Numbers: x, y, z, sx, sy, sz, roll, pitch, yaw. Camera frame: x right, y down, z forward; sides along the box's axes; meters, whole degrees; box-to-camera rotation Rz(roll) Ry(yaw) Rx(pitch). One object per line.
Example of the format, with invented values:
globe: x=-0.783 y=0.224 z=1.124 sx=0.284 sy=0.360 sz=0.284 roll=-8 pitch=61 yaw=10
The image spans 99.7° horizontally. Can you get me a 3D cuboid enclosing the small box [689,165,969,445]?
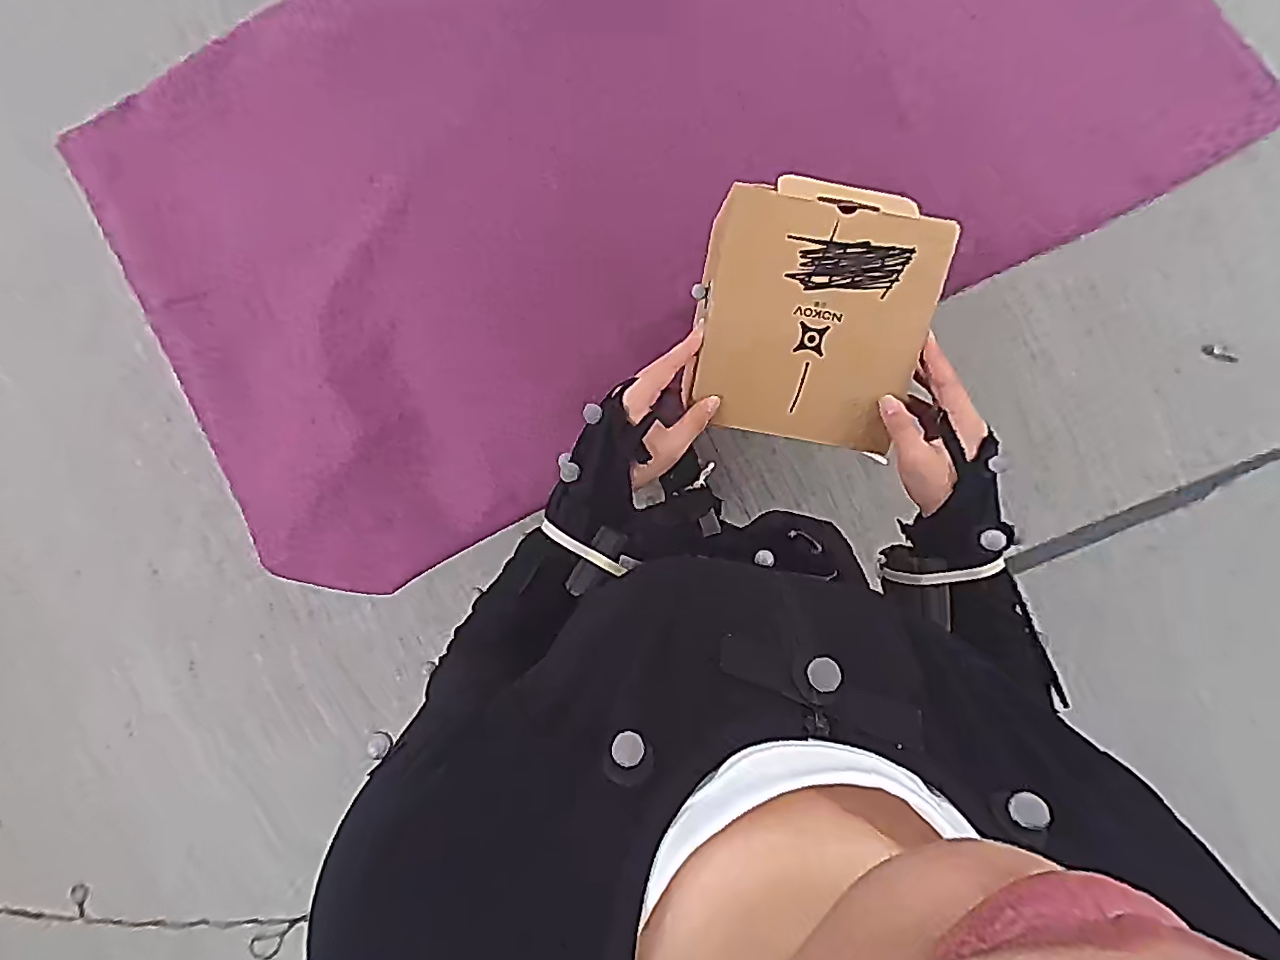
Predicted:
small box: x=0.139 y=-0.145 z=0.476 sx=0.168 sy=0.176 sz=0.179 roll=10 pitch=107 yaw=-1
